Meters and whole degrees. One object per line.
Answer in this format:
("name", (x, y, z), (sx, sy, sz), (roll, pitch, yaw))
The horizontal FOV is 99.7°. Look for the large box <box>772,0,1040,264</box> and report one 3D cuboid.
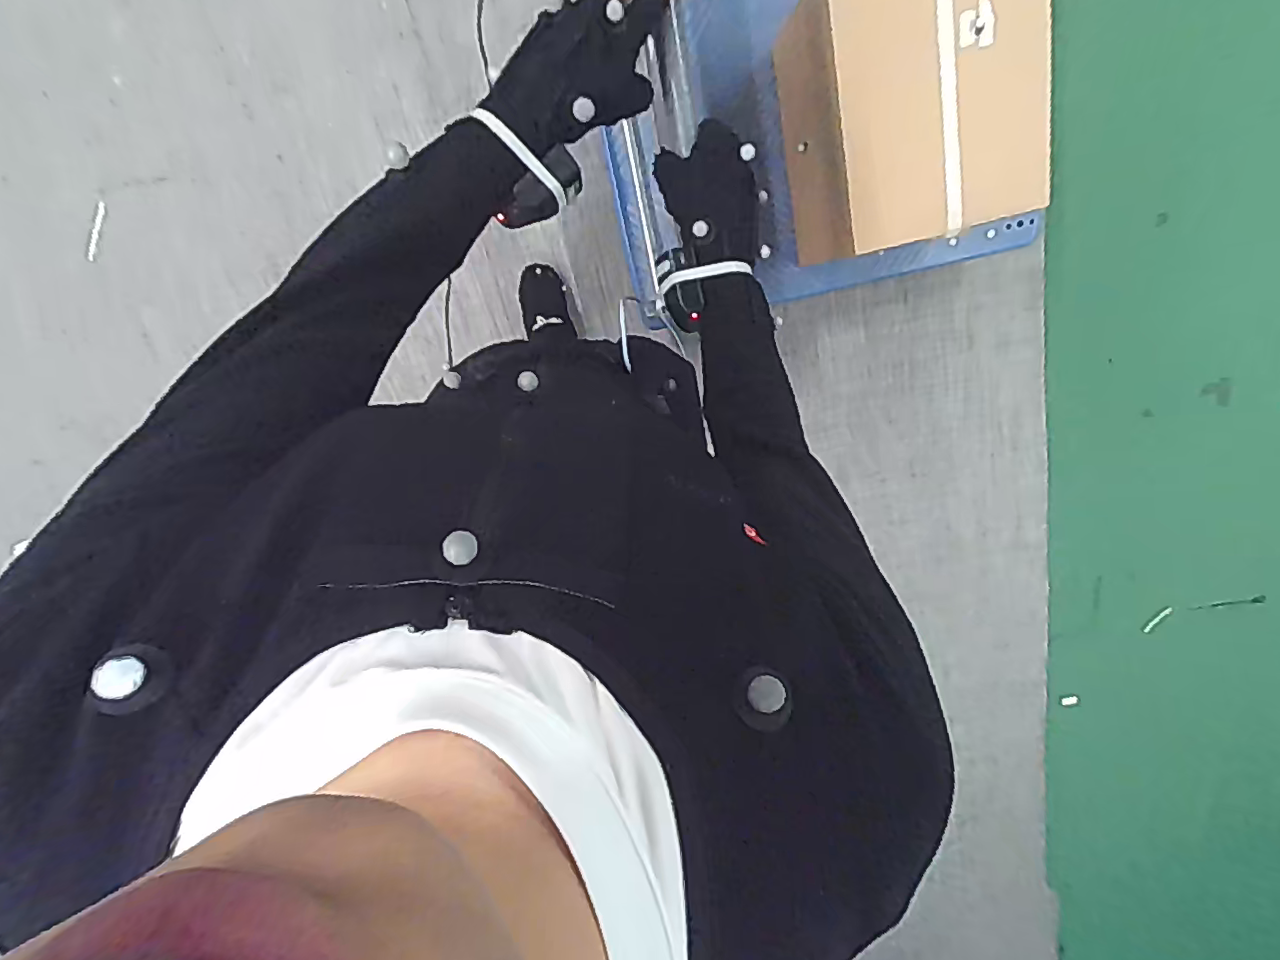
("large box", (0.447, -0.638, 0.961), (0.320, 0.320, 0.408), (-13, 108, 3))
